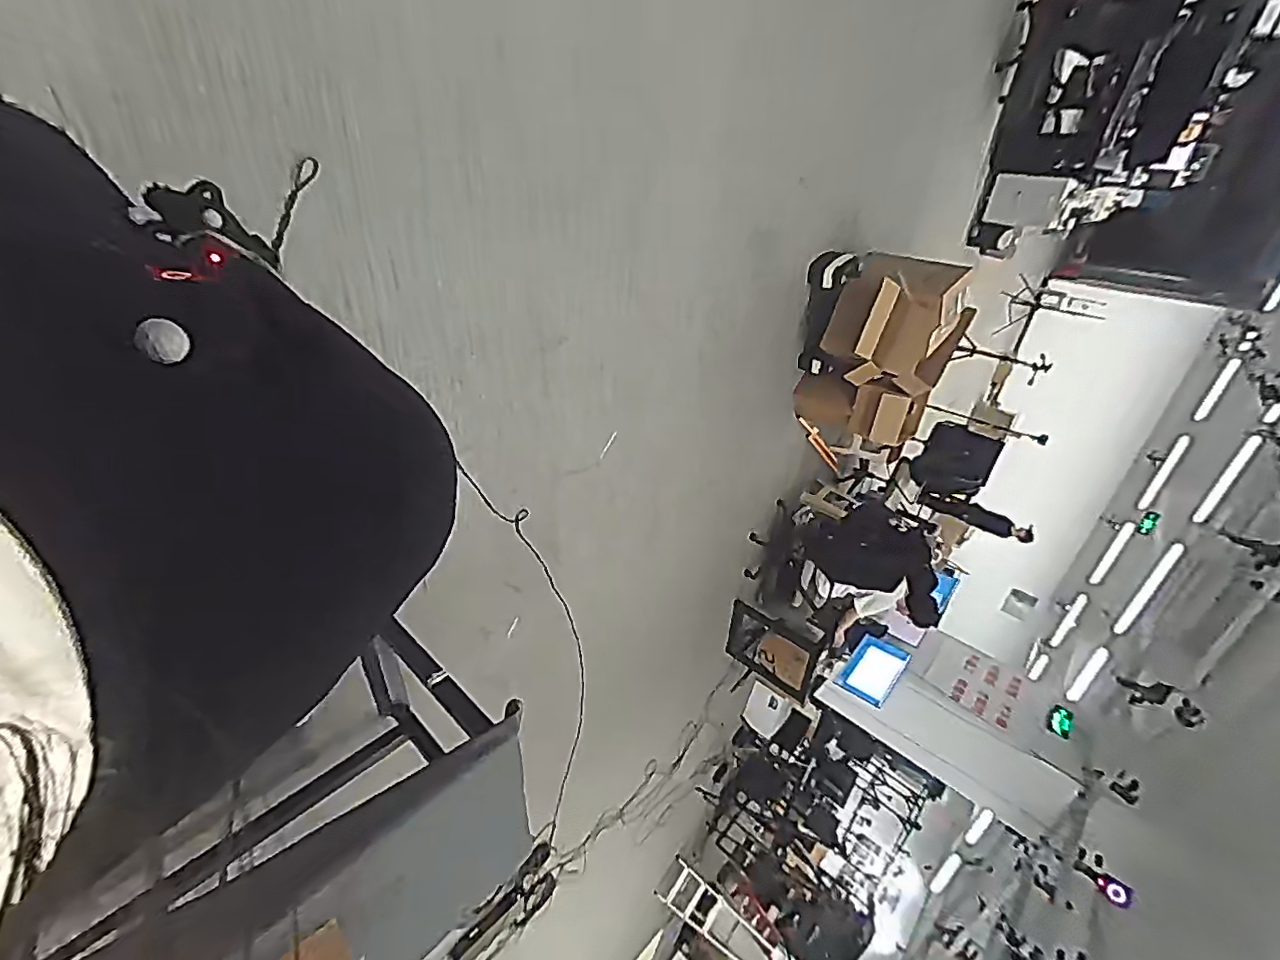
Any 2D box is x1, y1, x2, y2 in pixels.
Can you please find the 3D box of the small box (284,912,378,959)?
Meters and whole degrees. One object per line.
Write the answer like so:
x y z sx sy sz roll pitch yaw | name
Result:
-0.597 0.996 1.040 0.179 0.176 0.168 -24 130 -40 | small box
